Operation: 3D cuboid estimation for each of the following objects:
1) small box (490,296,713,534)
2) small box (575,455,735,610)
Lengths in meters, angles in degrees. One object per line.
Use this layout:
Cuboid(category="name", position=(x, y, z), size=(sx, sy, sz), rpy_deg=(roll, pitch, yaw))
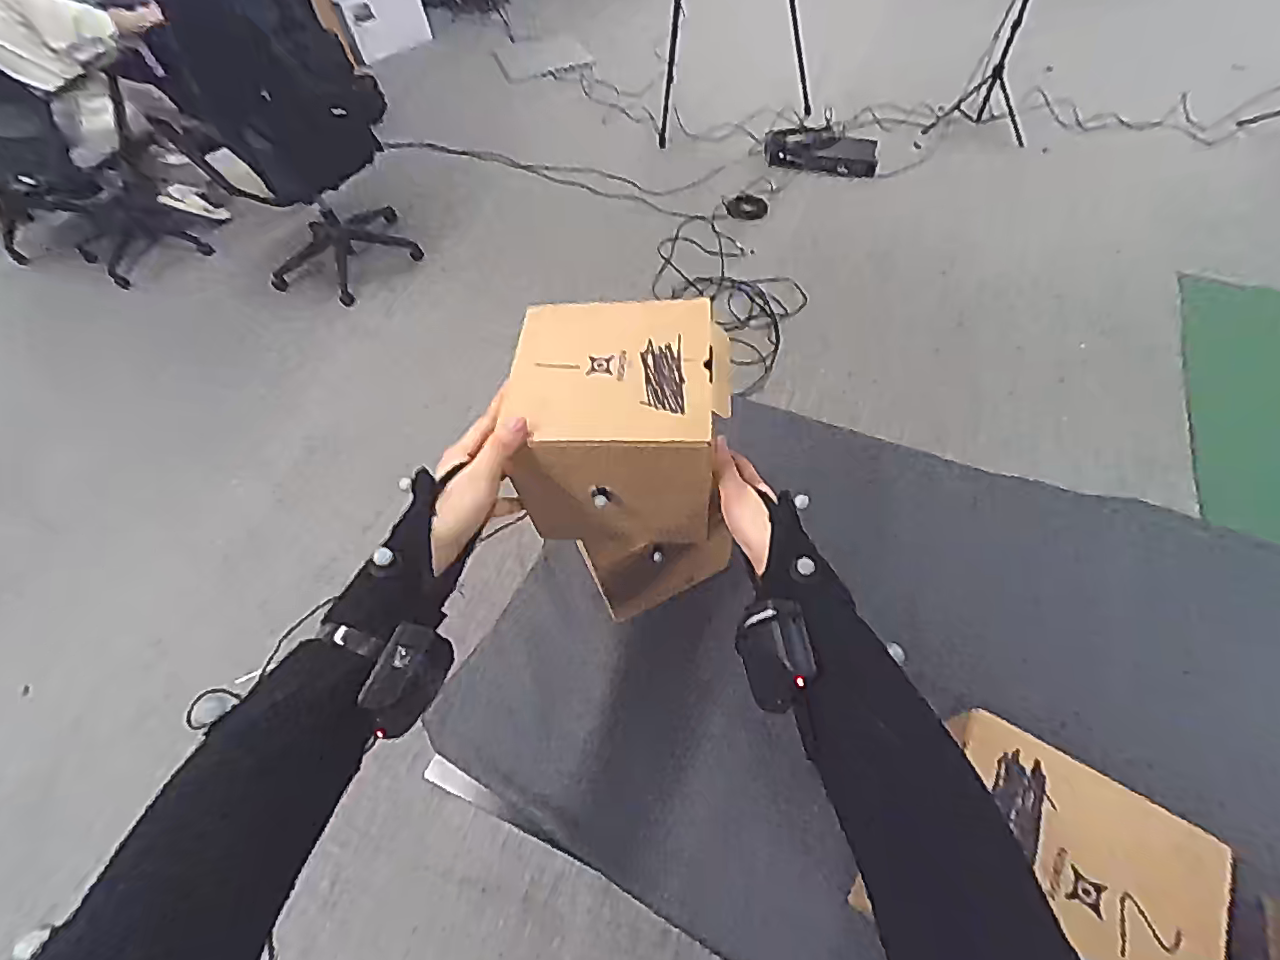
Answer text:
Cuboid(category="small box", position=(-0.019, -0.057, 0.527), size=(0.179, 0.176, 0.168), rpy_deg=(0, 57, 8))
Cuboid(category="small box", position=(-0.002, 0.029, 0.667), size=(0.168, 0.176, 0.179), rpy_deg=(-25, 57, -10))
